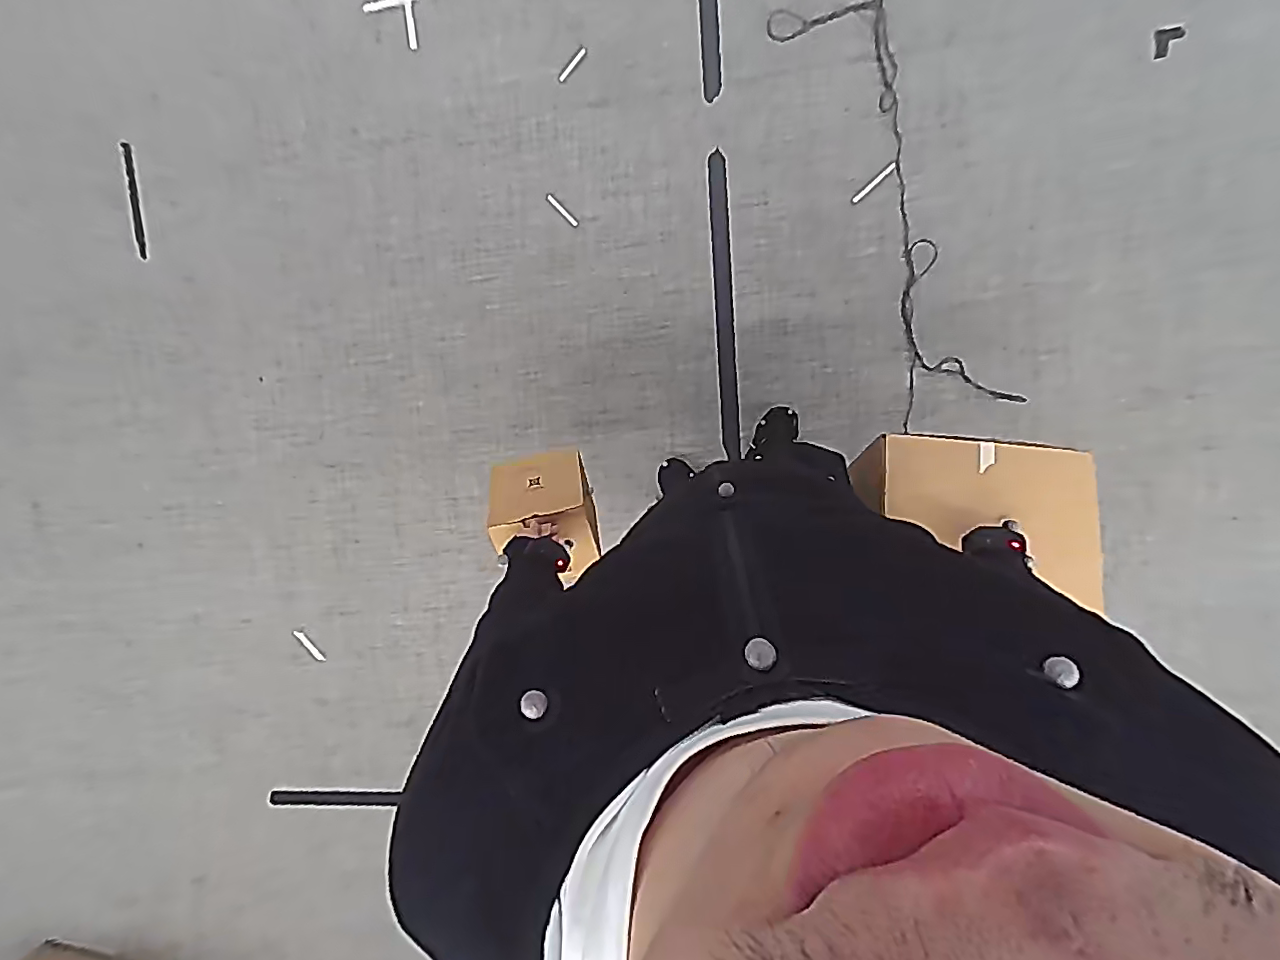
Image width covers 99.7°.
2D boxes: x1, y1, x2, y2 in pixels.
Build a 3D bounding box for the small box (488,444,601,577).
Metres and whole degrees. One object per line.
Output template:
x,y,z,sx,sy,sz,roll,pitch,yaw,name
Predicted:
-0.173,0.063,1.007,0.168,0.179,0.176,-12,132,-2,small box
